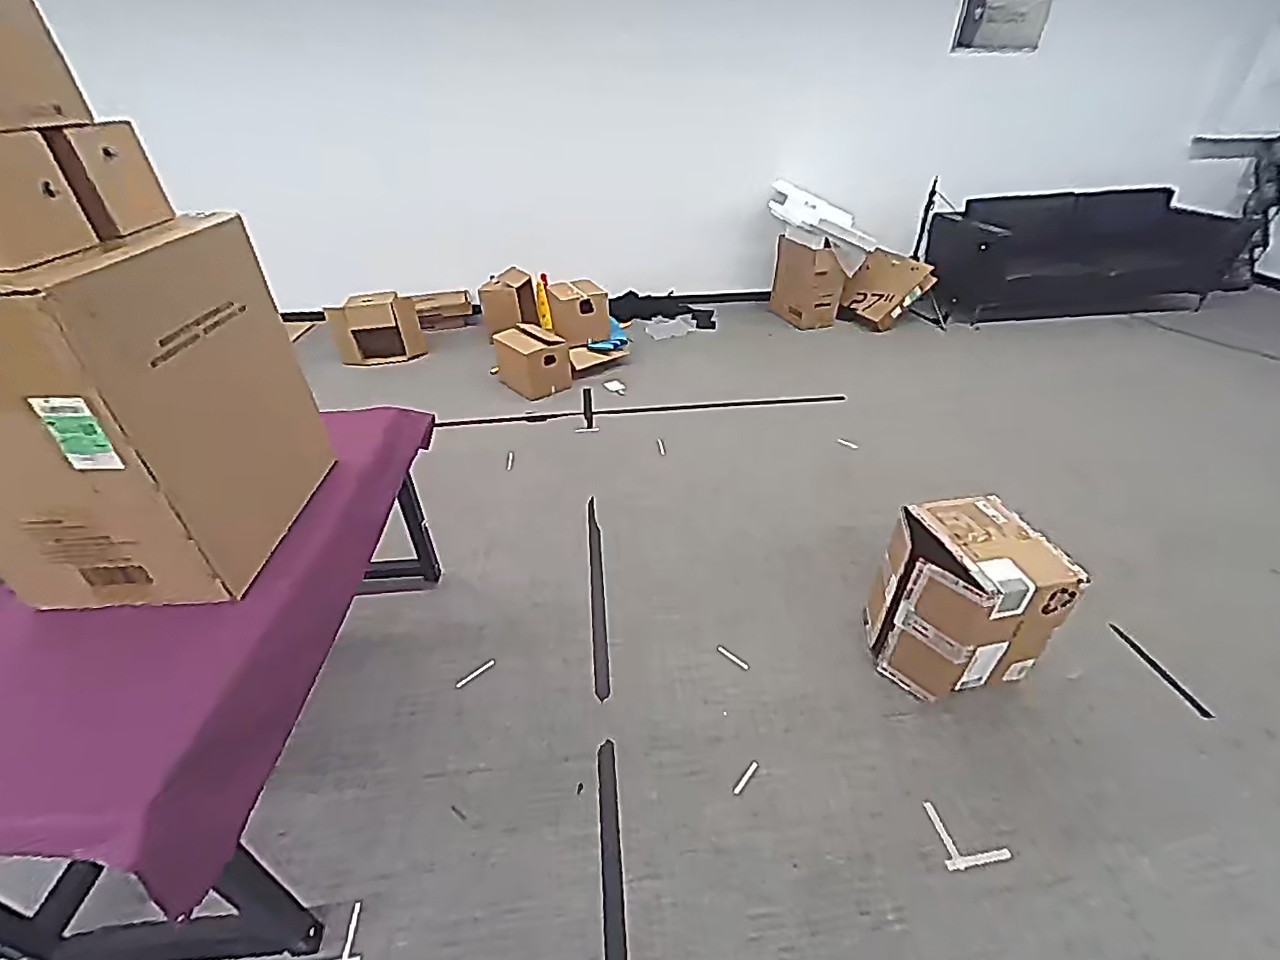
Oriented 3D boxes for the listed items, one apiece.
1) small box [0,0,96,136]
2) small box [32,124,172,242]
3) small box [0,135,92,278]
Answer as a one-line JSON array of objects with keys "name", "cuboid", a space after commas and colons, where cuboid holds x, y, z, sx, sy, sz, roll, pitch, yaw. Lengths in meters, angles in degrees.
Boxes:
[{"name": "small box", "cuboid": [-1.006, -0.614, 0.809, 0.179, 0.176, 0.168, 0, 37, 3]}, {"name": "small box", "cuboid": [-1.009, -0.534, 0.976, 0.168, 0.176, 0.179, -5, 36, -5]}, {"name": "small box", "cuboid": [-0.981, -0.403, 0.796, 0.168, 0.176, 0.179, -6, 35, -5]}]
